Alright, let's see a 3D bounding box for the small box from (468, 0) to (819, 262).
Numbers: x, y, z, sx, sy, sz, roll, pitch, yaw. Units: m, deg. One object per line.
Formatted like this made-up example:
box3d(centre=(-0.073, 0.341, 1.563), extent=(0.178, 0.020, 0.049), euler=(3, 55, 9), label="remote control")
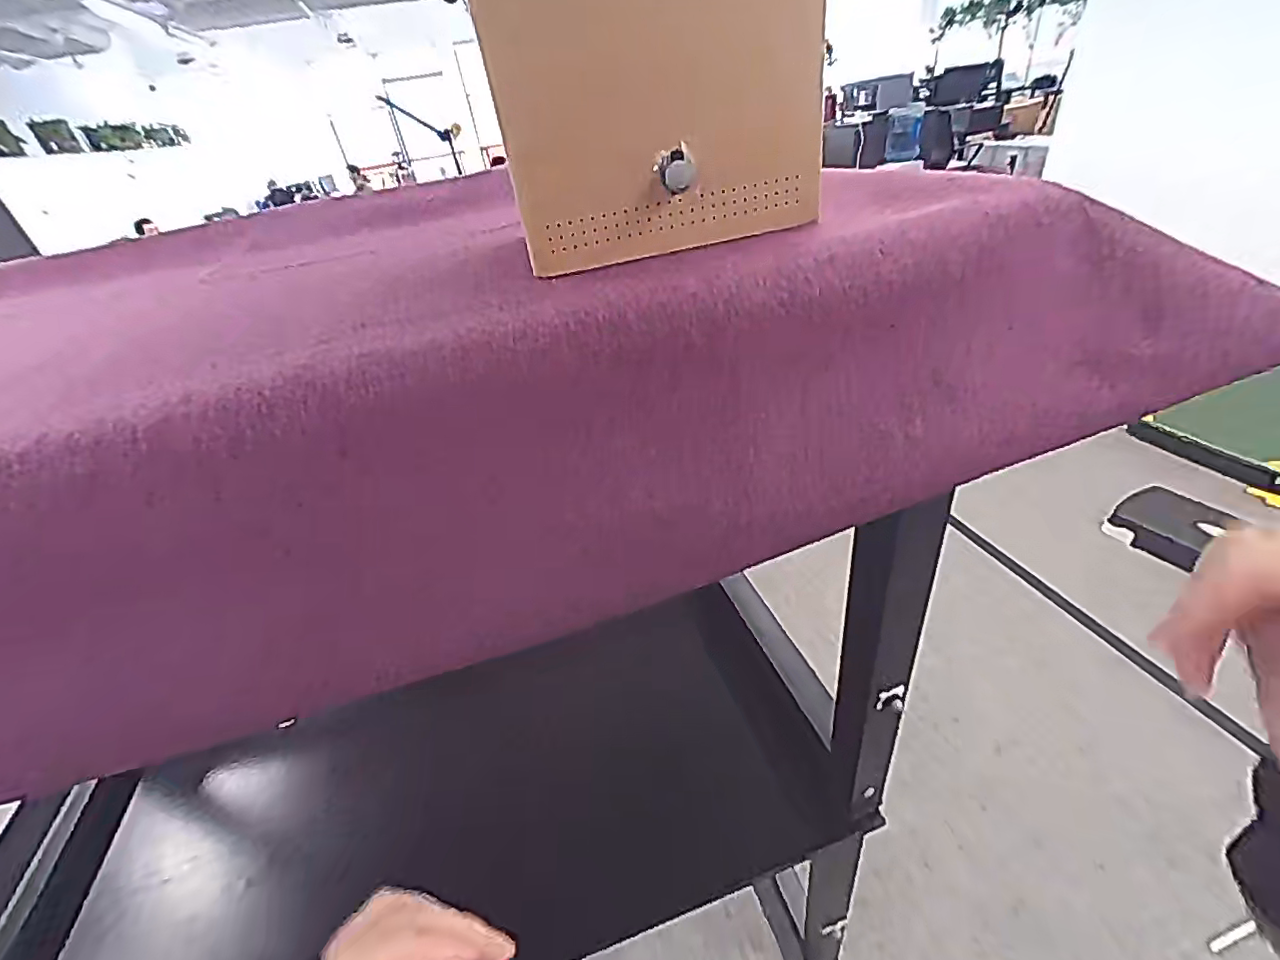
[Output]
box3d(centre=(-0.004, -0.249, 0.334), extent=(0.179, 0.176, 0.168), euler=(-14, 34, -5), label="small box")
